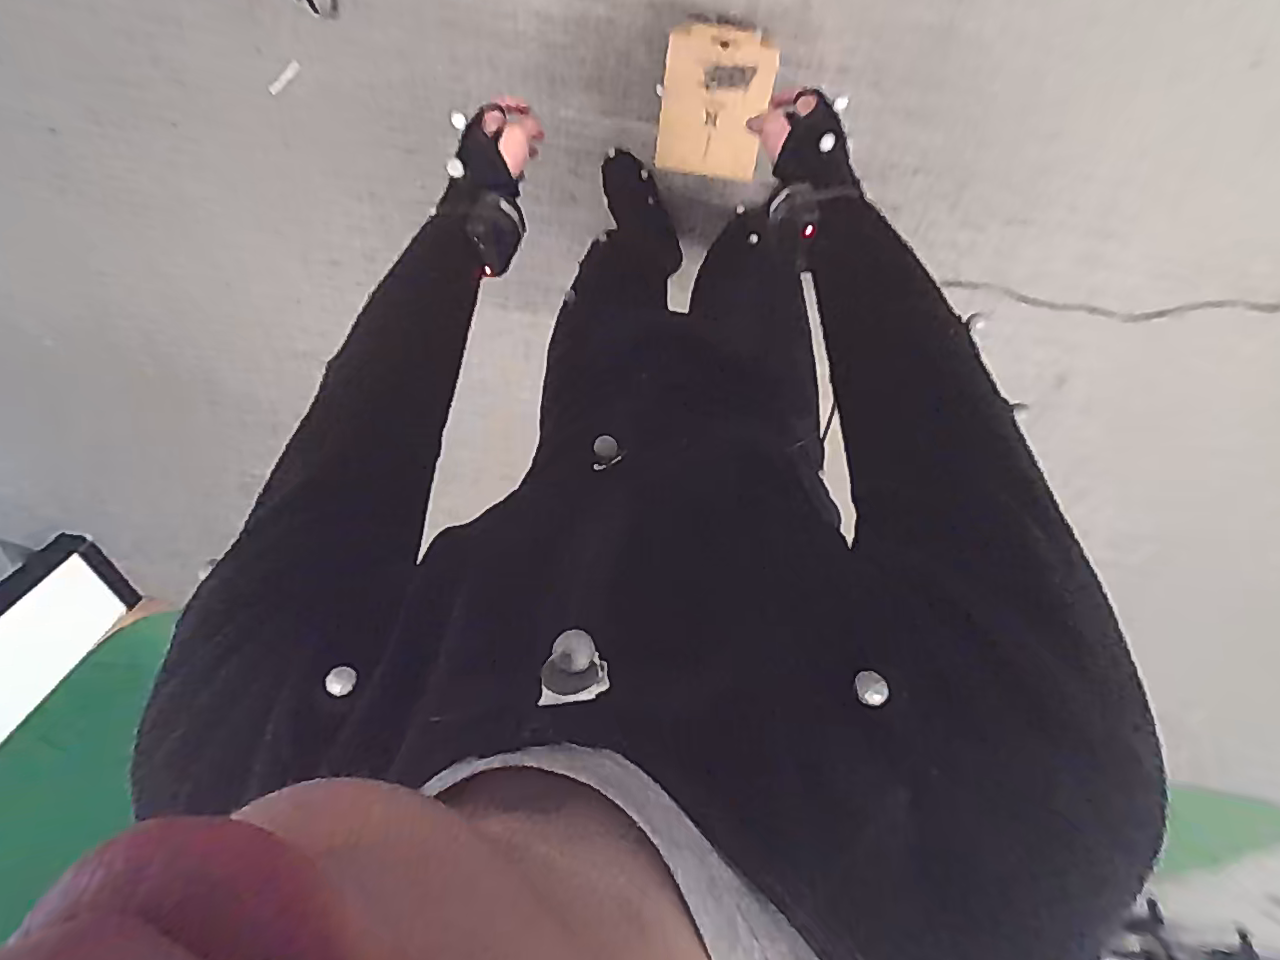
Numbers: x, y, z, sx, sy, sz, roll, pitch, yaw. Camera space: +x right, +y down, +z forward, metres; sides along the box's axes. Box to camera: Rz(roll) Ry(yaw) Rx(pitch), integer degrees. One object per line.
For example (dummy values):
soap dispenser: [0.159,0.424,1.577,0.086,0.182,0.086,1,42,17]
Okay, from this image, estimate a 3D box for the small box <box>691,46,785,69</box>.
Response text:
small box: [0.171,-0.710,1.032,0.168,0.176,0.179,9,133,4]

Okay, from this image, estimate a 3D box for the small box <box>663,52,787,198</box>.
small box: [0.139,-0.602,0.912,0.168,0.176,0.179,10,132,3]
